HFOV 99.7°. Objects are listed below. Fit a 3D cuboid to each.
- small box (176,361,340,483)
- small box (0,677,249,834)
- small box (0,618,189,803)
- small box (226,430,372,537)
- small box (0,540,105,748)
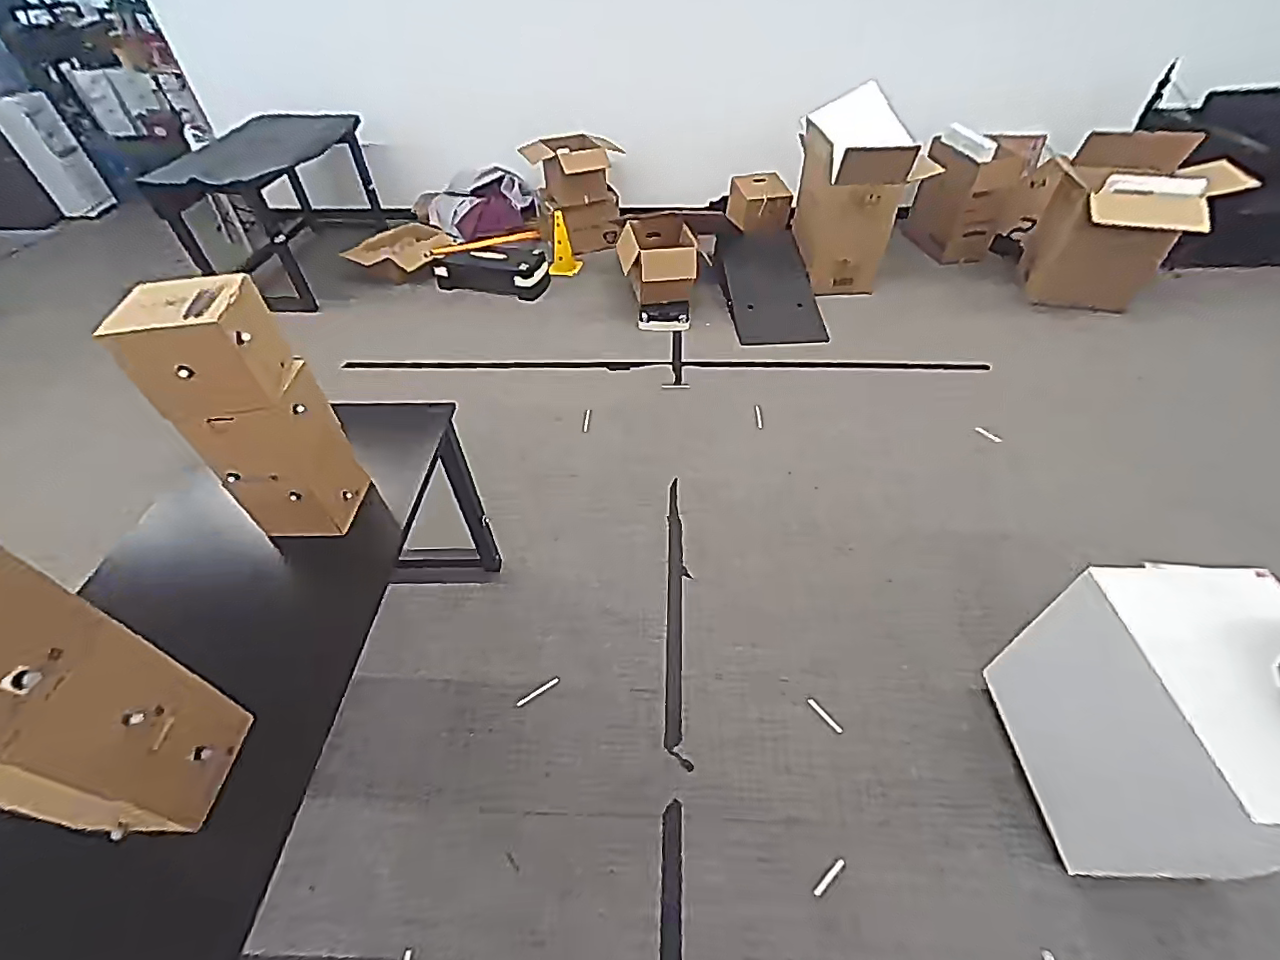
[{"bbox_3d":[-0.708,-0.105,1.032,0.168,0.176,0.179,-3,46,-1],"label":"small box"},{"bbox_3d":[-0.720,0.396,0.779,0.179,0.176,0.168,0,46,1],"label":"small box"},{"bbox_3d":[-0.725,0.282,0.660,0.179,0.176,0.168,0,47,1],"label":"small box"},{"bbox_3d":[-0.711,0.008,1.151,0.179,0.176,0.168,0,46,1],"label":"small box"},{"bbox_3d":[-0.728,0.168,0.543,0.179,0.176,0.168,0,47,1],"label":"small box"}]
